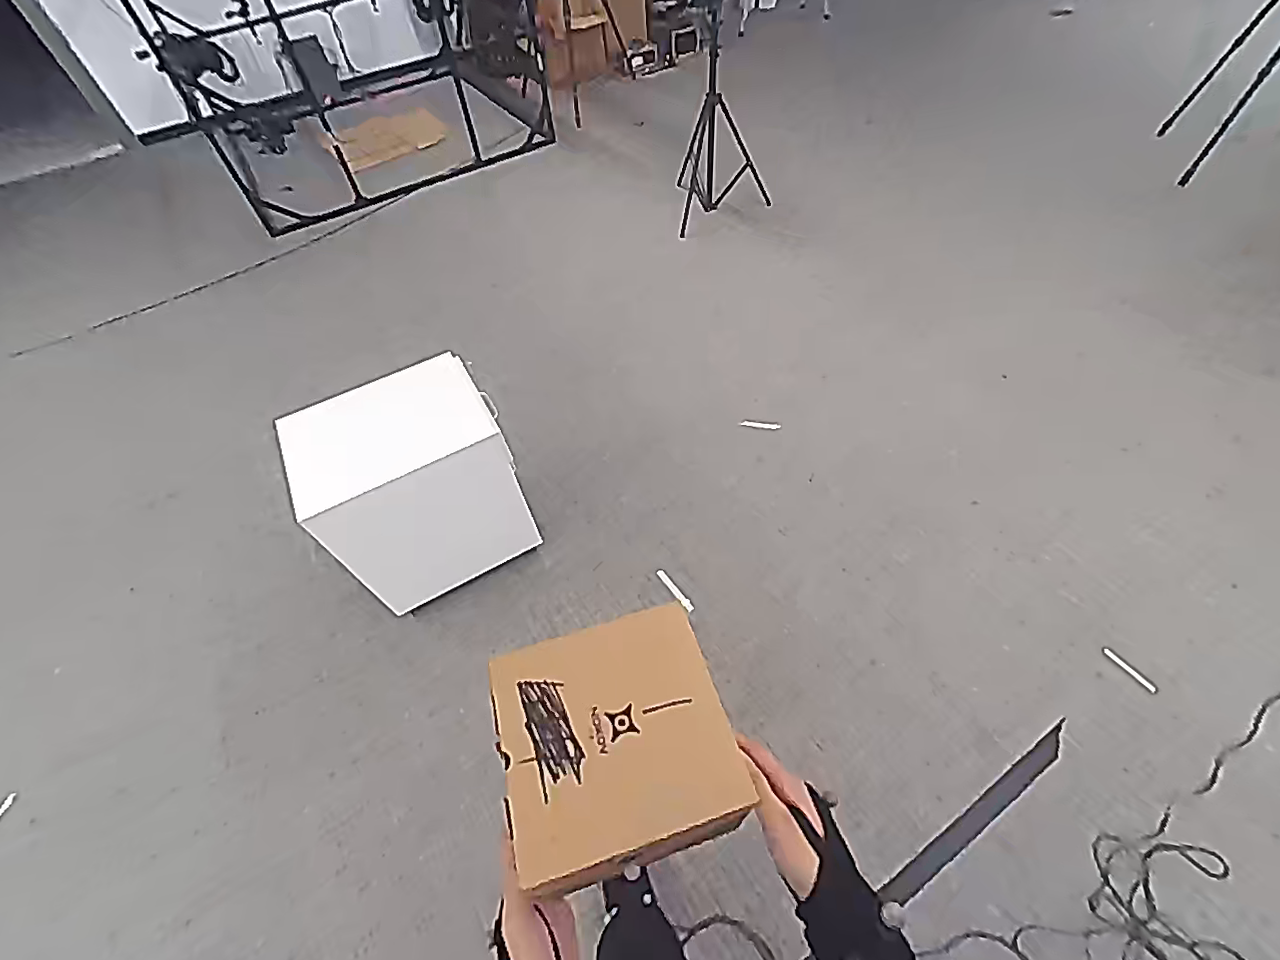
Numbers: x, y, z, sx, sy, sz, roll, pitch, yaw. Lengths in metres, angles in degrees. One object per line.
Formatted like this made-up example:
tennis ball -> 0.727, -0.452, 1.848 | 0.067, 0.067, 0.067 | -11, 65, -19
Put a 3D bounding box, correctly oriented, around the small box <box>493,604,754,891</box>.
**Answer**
small box -> -0.017, 0.243, 0.486 | 0.179, 0.176, 0.168 | -15, 52, -9
